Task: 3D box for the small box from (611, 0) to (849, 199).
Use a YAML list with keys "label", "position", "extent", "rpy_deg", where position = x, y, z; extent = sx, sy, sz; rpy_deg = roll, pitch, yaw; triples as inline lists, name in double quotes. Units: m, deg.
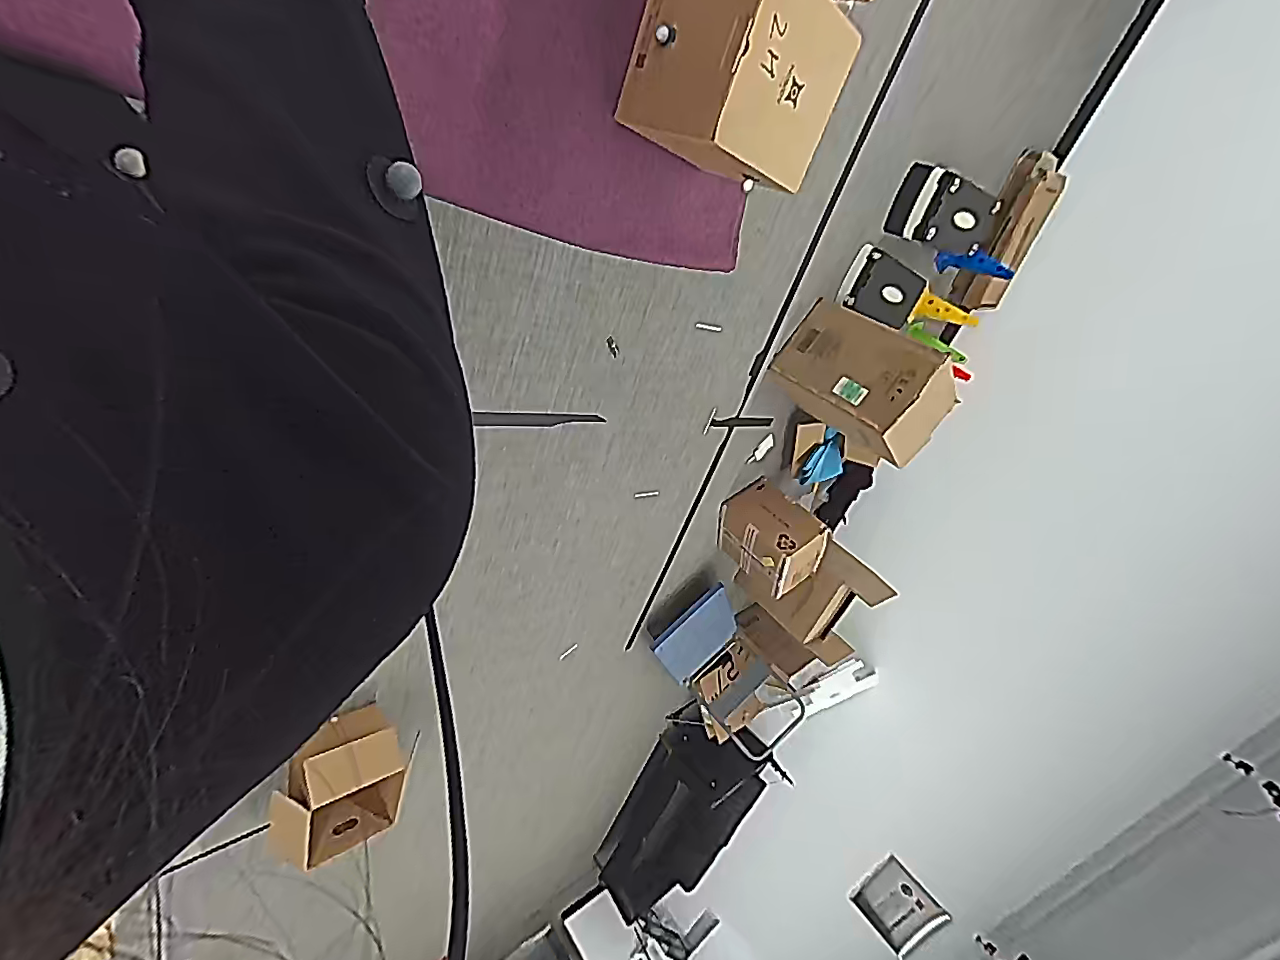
- label: "small box"
  position: [0.099, -0.457, 0.629]
  extent: [0.179, 0.176, 0.168]
  rpy_deg: [-4, 124, -45]
